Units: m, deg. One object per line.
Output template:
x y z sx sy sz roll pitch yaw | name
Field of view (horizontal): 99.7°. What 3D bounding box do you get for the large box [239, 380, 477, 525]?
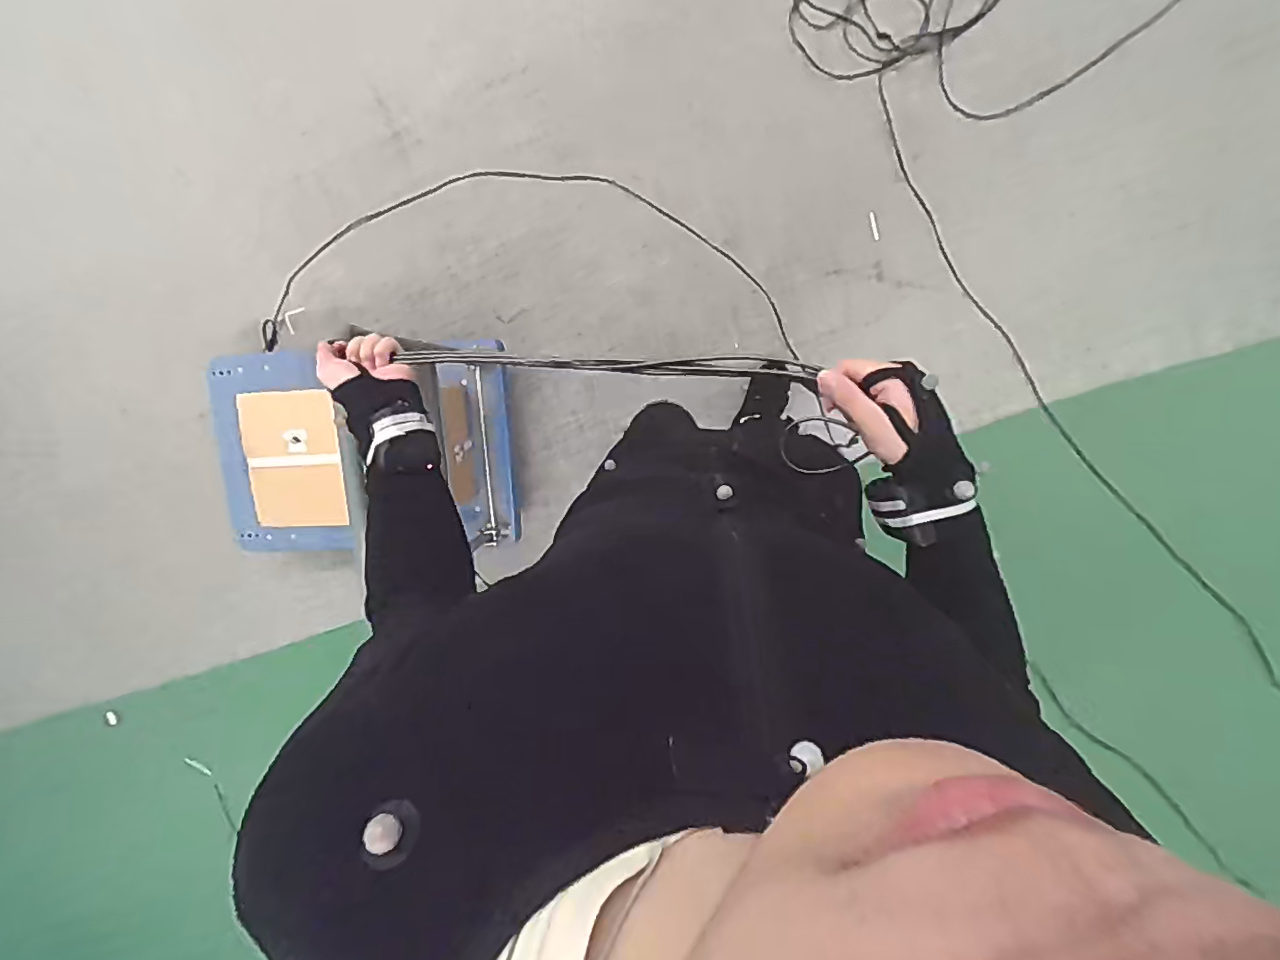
-0.672 -0.081 1.350 0.408 0.320 0.320 -2 99 8 | large box
